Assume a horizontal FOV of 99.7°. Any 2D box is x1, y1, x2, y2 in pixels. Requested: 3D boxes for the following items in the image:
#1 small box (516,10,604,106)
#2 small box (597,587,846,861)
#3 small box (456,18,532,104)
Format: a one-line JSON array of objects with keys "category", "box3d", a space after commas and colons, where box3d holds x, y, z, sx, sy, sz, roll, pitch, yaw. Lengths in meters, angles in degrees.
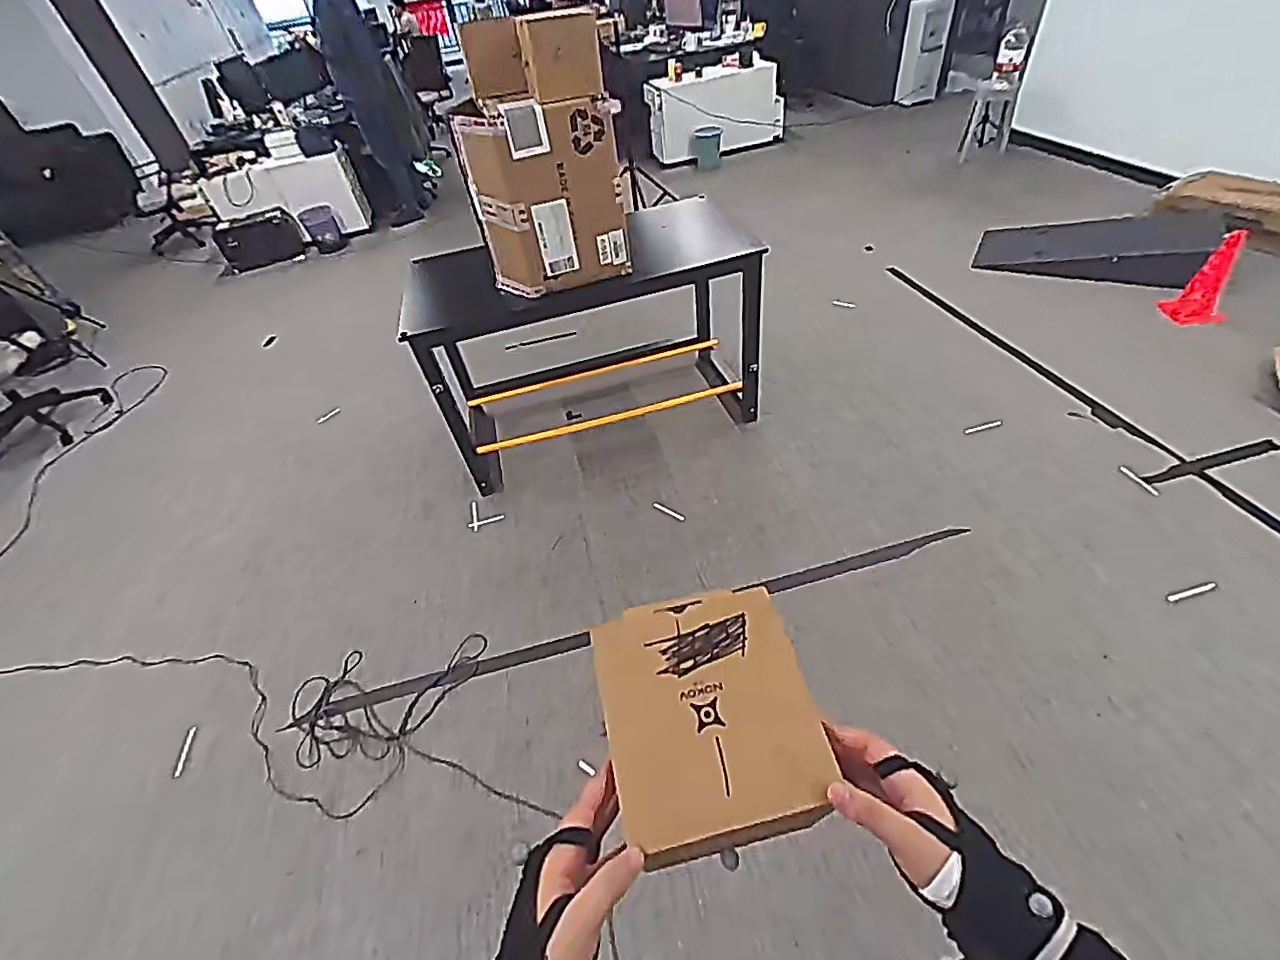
[{"category": "small box", "box3d": [-0.208, -1.109, 1.423, 0.179, 0.176, 0.168, -17, 47, -9]}, {"category": "small box", "box3d": [0.062, 0.230, 0.505, 0.168, 0.176, 0.179, -13, 52, -4]}, {"category": "small box", "box3d": [-0.411, -1.199, 1.545, 0.179, 0.176, 0.168, -17, 42, -9]}]
